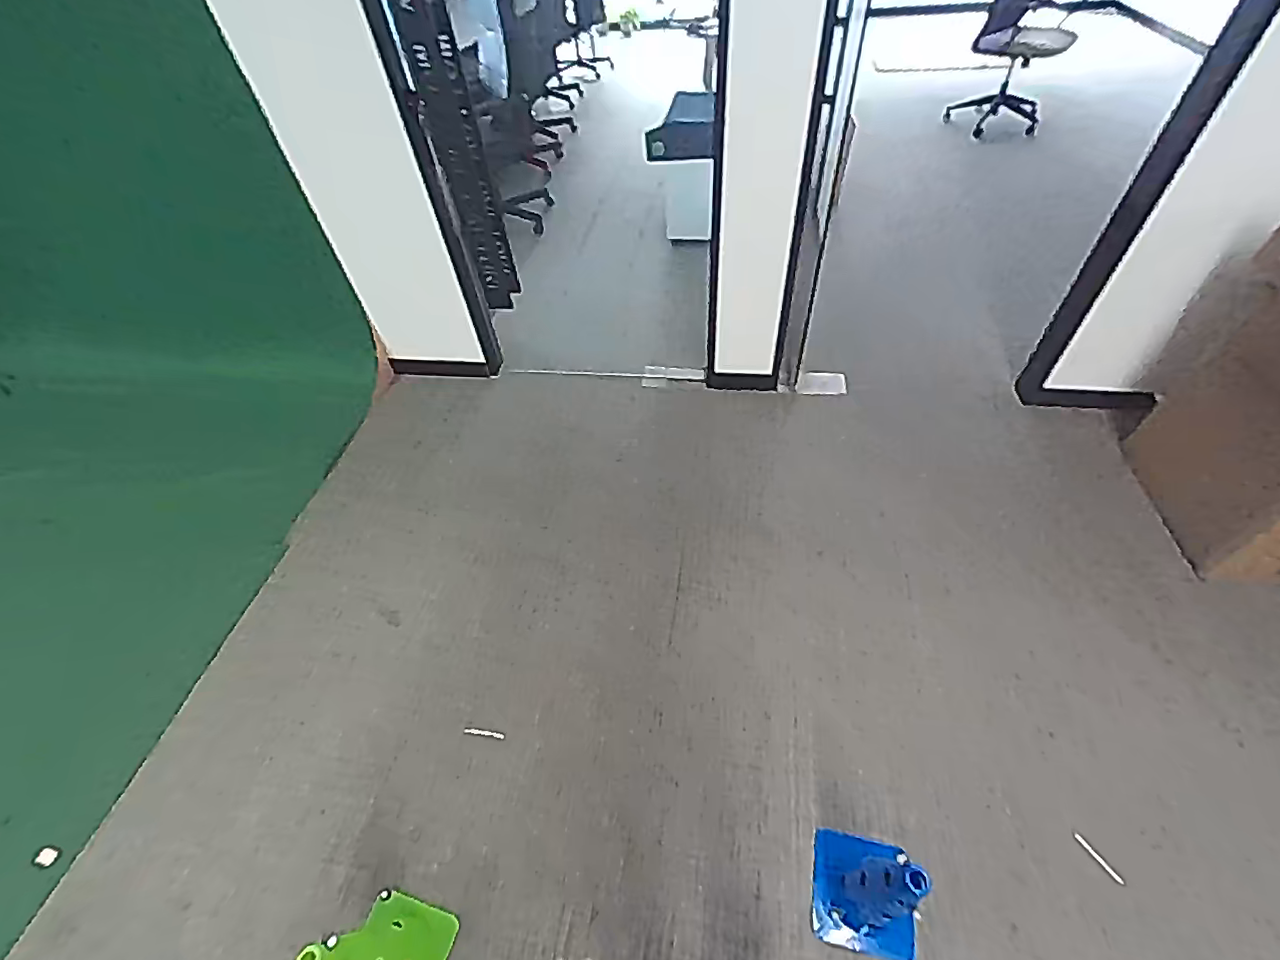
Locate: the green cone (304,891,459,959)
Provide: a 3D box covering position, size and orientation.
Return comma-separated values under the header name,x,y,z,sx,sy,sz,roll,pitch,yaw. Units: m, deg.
name,x,y,z,sx,sy,sz,roll,pitch,yaw
green cone,-0.510,0.881,0.989,0.202,0.368,0.200,10,50,13
